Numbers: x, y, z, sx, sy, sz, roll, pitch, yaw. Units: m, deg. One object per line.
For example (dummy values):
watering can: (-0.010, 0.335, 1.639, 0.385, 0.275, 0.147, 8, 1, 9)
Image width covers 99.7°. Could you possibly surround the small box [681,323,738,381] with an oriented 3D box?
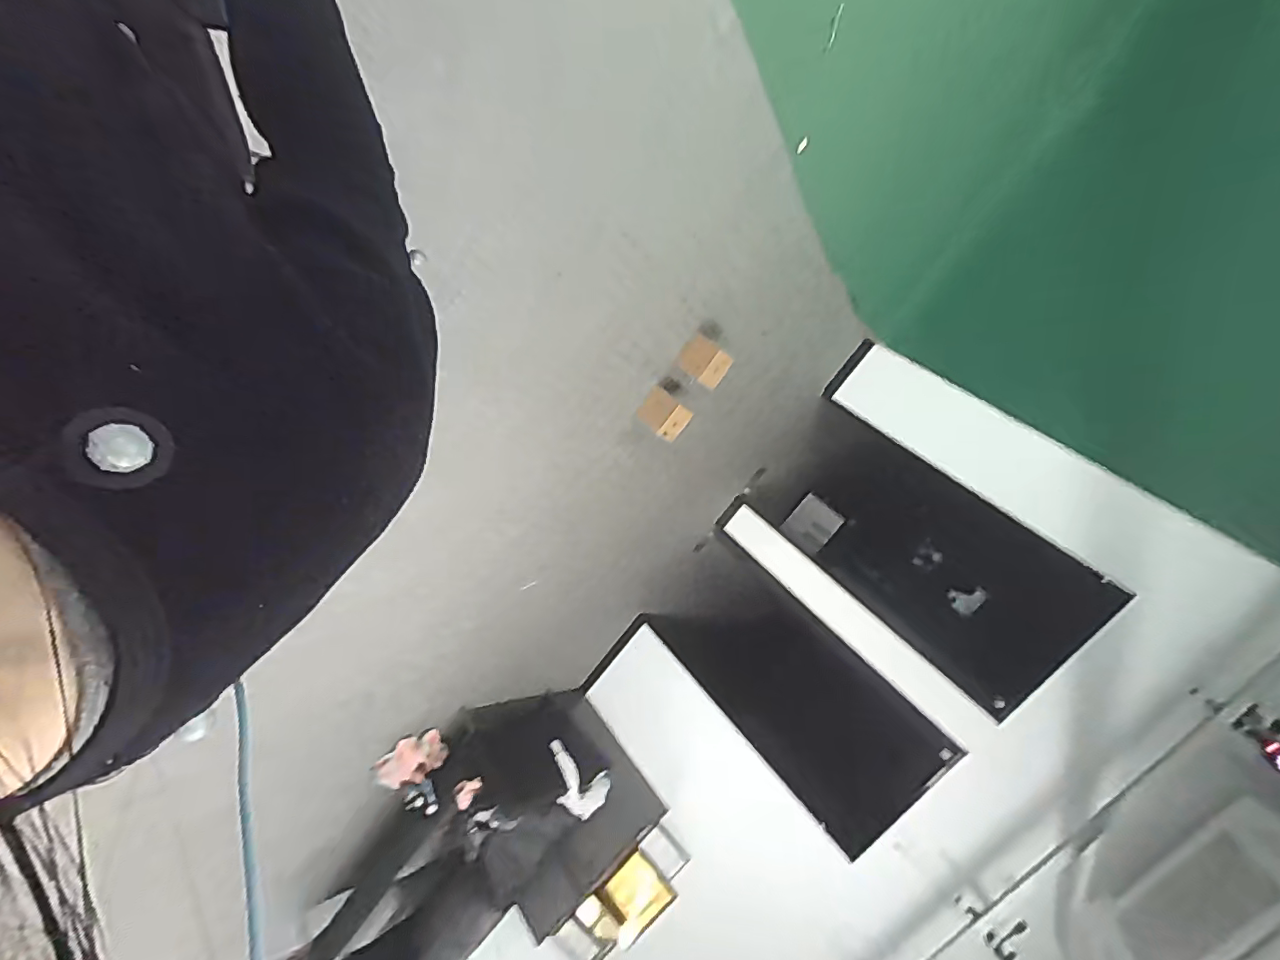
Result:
small box: (0.312, -0.589, 2.485, 0.179, 0.176, 0.168, -55, 149, 14)
